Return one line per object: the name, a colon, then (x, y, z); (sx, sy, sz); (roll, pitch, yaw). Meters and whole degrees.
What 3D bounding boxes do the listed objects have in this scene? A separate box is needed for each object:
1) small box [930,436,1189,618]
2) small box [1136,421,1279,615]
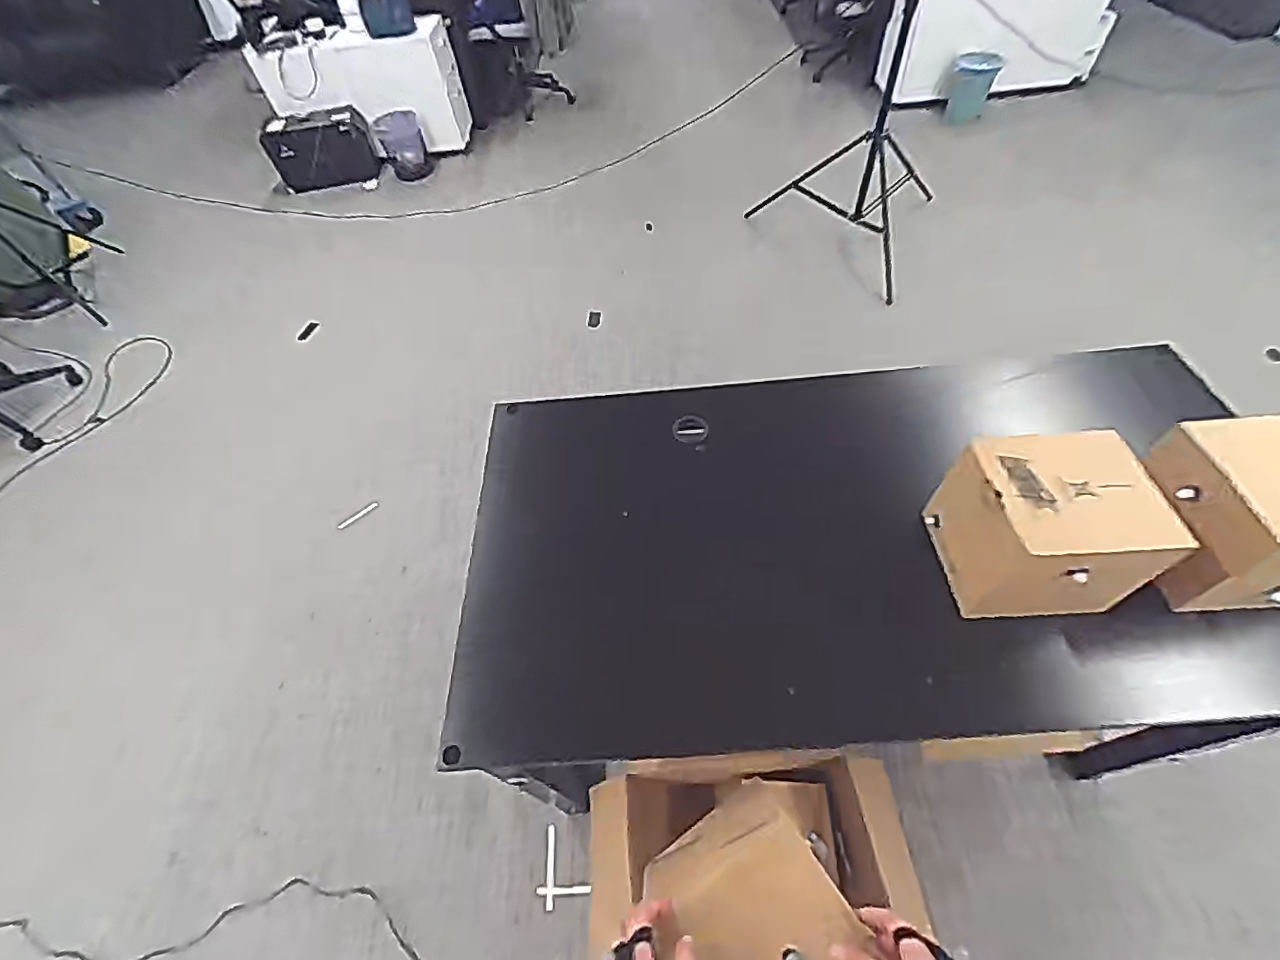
small box: (0.489, 0.064, 0.675); (0.179, 0.176, 0.168); (-3, 53, 3)
small box: (0.734, 0.048, 0.660); (0.168, 0.176, 0.179); (-4, 53, 4)
